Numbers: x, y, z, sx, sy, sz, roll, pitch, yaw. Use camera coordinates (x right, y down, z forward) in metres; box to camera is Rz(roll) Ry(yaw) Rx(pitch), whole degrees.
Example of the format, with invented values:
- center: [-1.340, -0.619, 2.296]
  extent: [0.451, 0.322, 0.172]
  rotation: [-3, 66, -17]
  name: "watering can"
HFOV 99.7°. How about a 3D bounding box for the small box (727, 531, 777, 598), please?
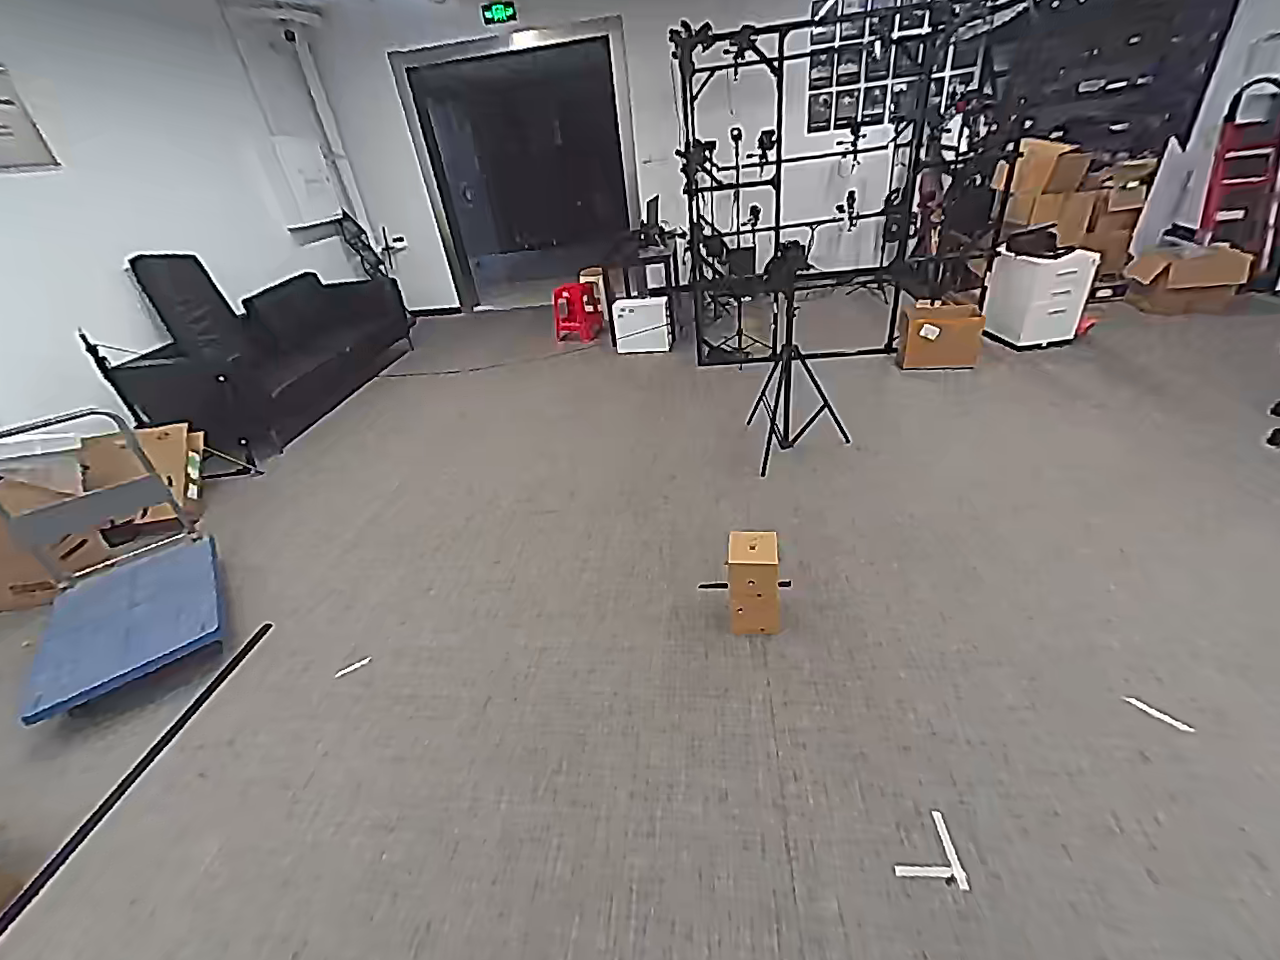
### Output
- center: [0.394, 0.298, 1.898]
  extent: [0.168, 0.176, 0.179]
  rotation: [0, 32, 12]
  name: "small box"
